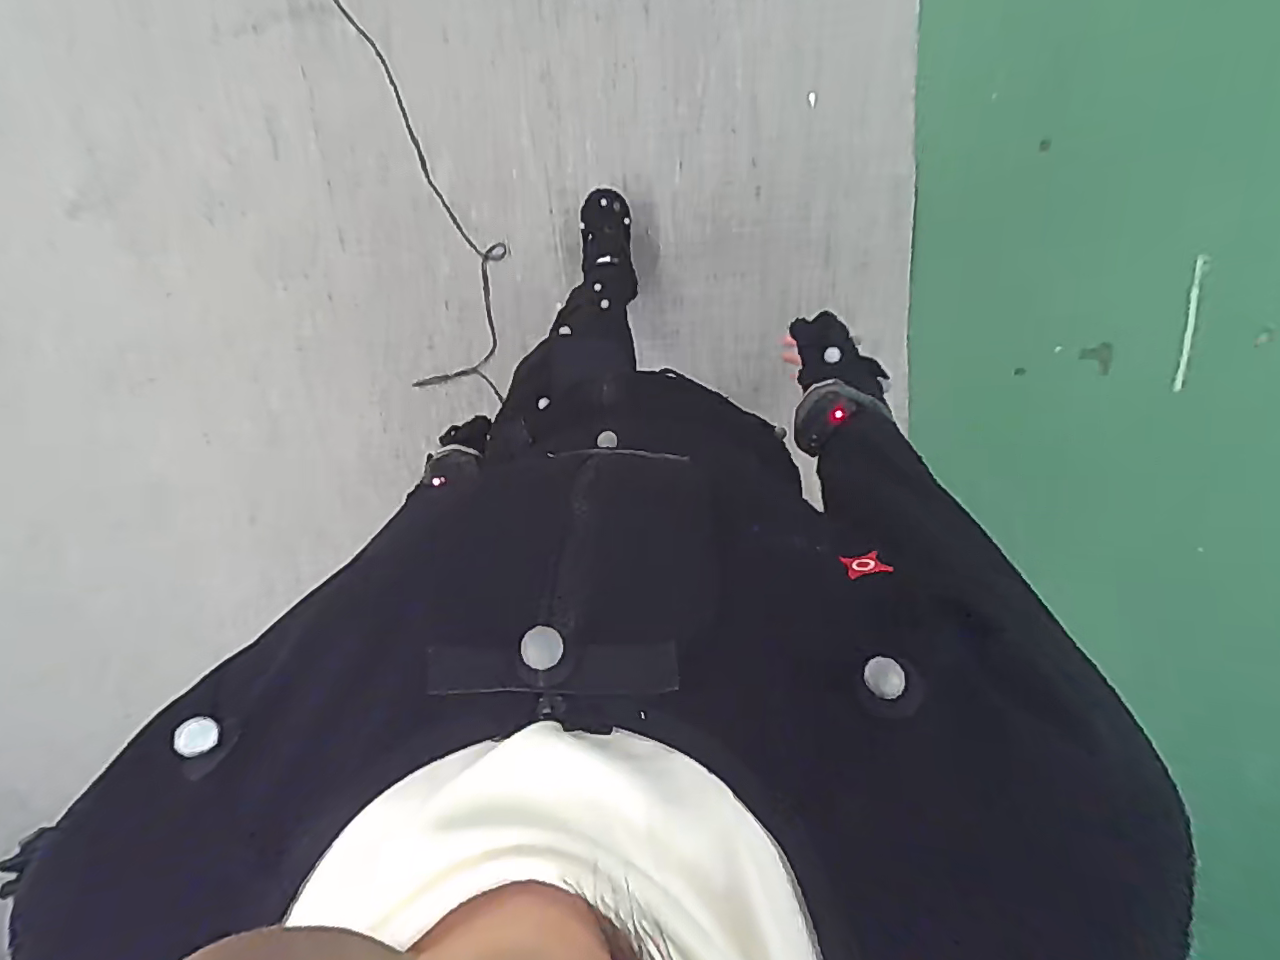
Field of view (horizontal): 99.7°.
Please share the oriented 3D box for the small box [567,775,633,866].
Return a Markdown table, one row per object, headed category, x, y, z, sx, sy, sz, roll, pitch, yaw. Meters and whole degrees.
| category | x | y | z | sx | sy | sz | roll | pitch | yaw |
| --- | --- | --- | --- | --- | --- | --- | --- | --- | --- |
| small box | -0.117 | 1.038 | 1.656 | 0.179 | 0.176 | 0.168 | -6 | 107 | 2 |
